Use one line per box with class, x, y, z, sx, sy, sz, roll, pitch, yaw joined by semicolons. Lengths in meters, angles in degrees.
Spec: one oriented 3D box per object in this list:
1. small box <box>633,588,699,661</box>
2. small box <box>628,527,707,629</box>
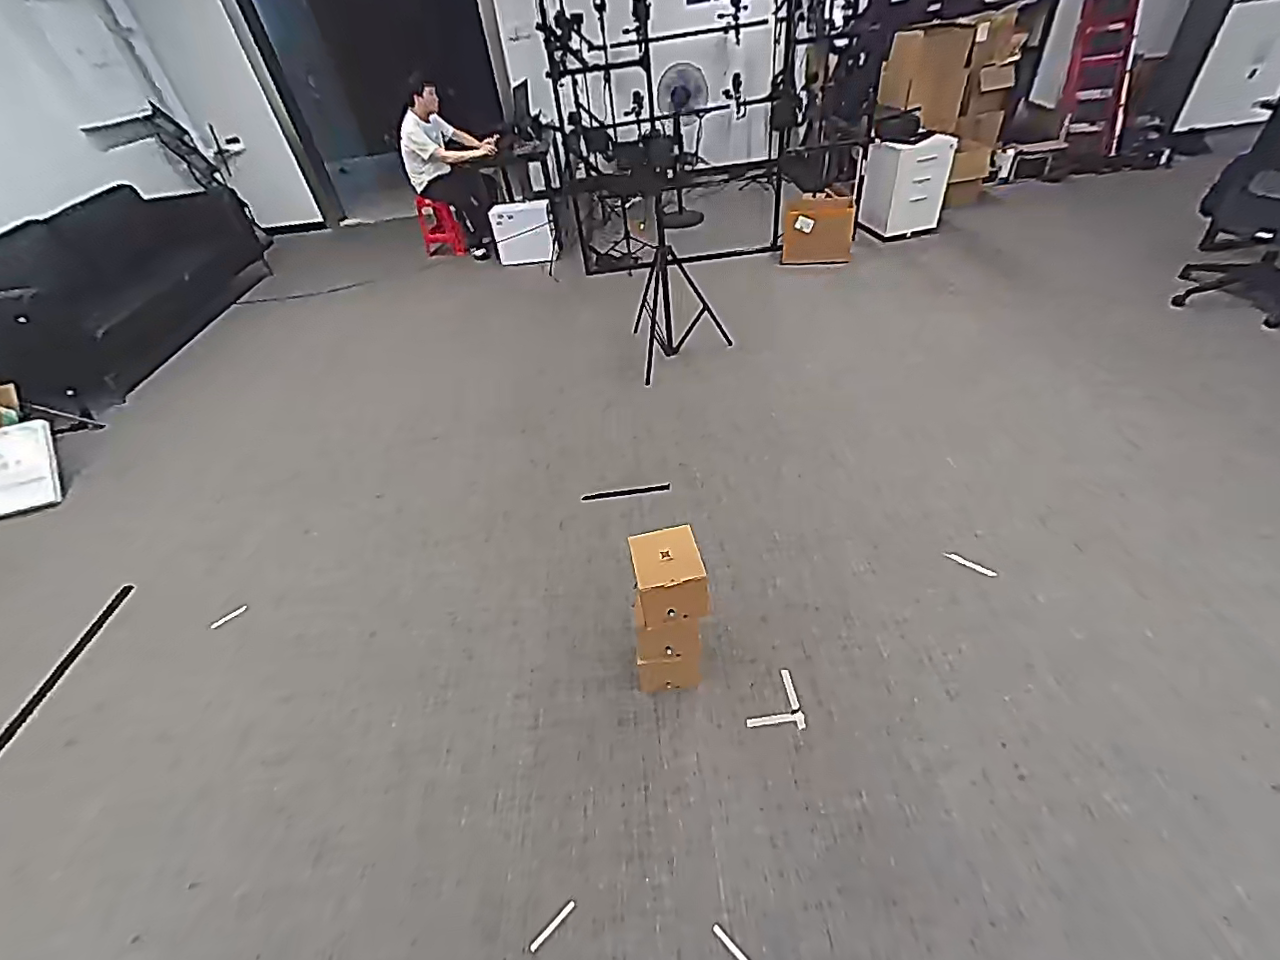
small box;0.074;0.373;1.484;0.168;0.176;0.179;-5;42;5
small box;0.069;0.250;1.377;0.168;0.176;0.179;-12;42;-4
